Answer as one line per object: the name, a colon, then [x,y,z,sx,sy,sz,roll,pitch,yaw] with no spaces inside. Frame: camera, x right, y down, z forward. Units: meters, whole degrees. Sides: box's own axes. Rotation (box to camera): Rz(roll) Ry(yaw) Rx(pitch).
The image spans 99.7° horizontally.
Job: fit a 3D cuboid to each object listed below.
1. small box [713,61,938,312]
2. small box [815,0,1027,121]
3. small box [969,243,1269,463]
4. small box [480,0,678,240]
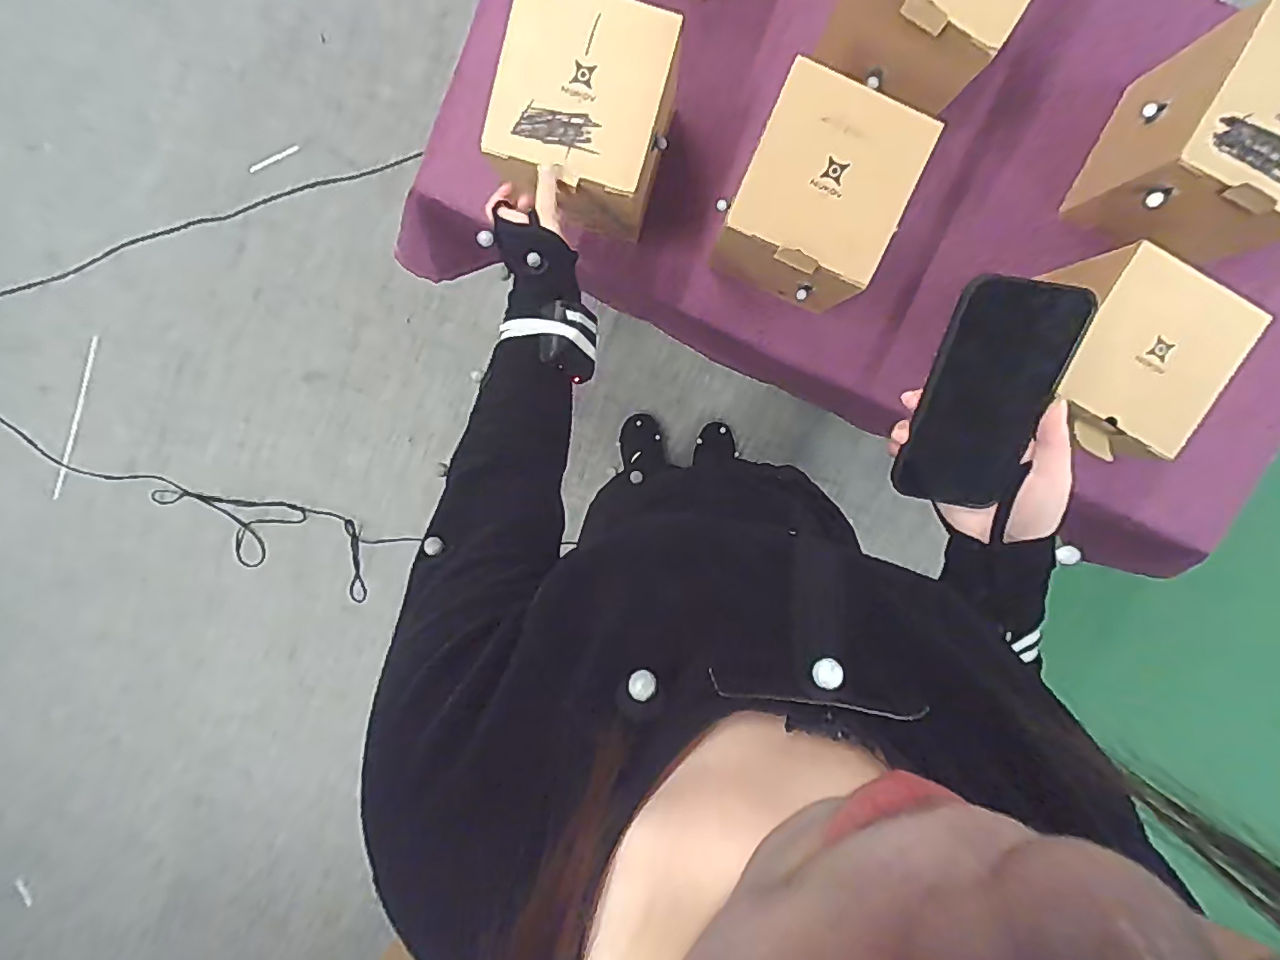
small box: [0.194,-0.316,0.628,0.168,0.176,0.179,23,97,-3]
small box: [0.319,-0.538,0.592,0.168,0.176,0.179,30,98,-3]
small box: [0.542,-0.142,0.645,0.168,0.176,0.179,28,98,-3]
small box: [-0.061,-0.402,0.619,0.168,0.176,0.179,16,97,-2]
